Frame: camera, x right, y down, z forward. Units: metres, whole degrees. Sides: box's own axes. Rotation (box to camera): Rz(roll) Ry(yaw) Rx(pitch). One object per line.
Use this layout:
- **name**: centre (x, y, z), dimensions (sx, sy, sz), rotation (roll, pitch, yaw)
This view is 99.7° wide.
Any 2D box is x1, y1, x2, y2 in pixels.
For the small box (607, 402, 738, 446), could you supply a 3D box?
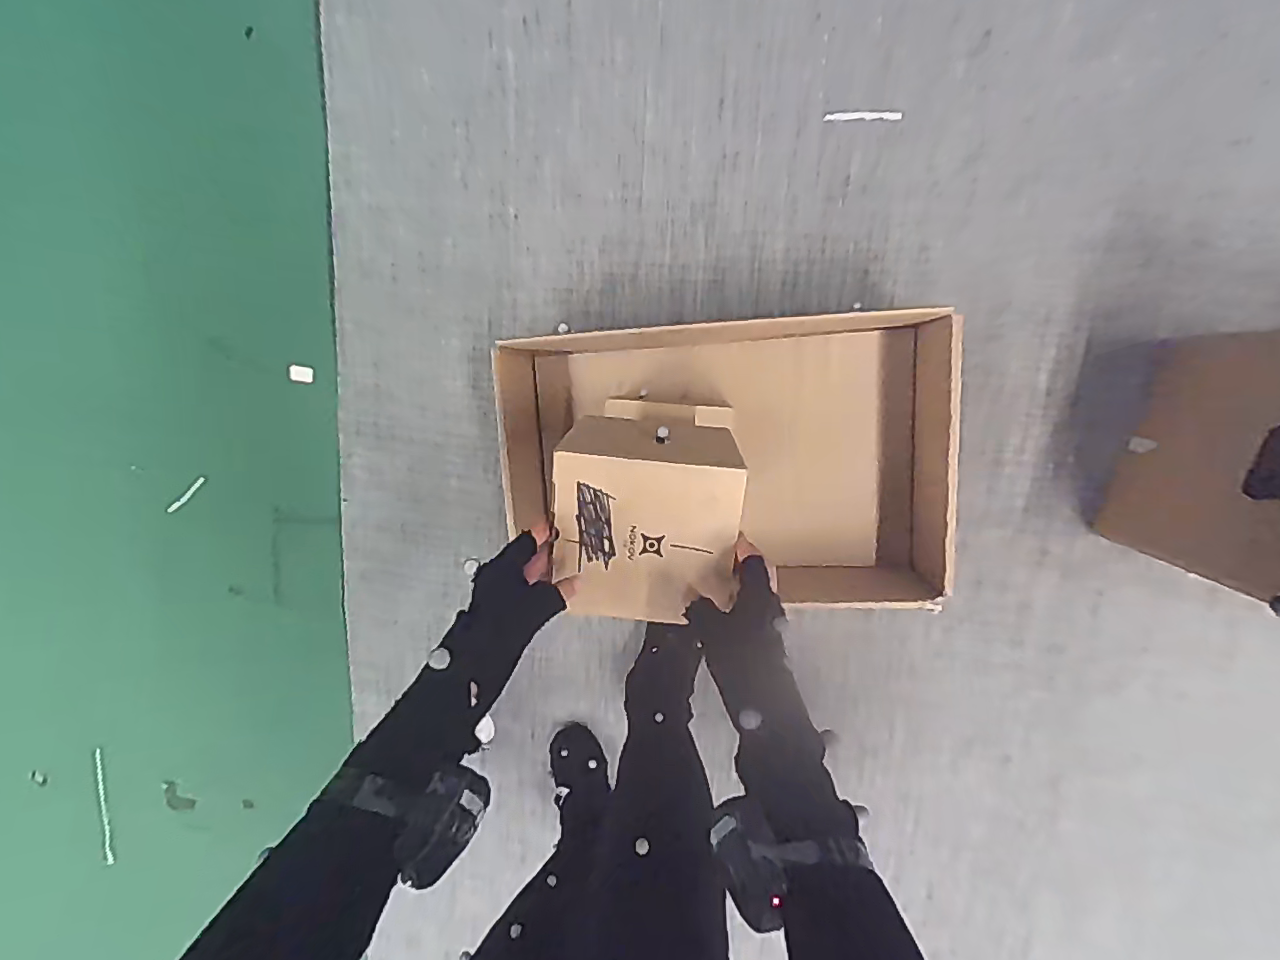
- **small box**: centre (0.048, -0.028, 0.809), dimensions (0.179, 0.176, 0.168), rotation (4, 101, 6)

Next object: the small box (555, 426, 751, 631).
- **small box**: centre (0.012, 0.040, 0.588), dimensions (0.179, 0.176, 0.168), rotation (5, 108, 1)
